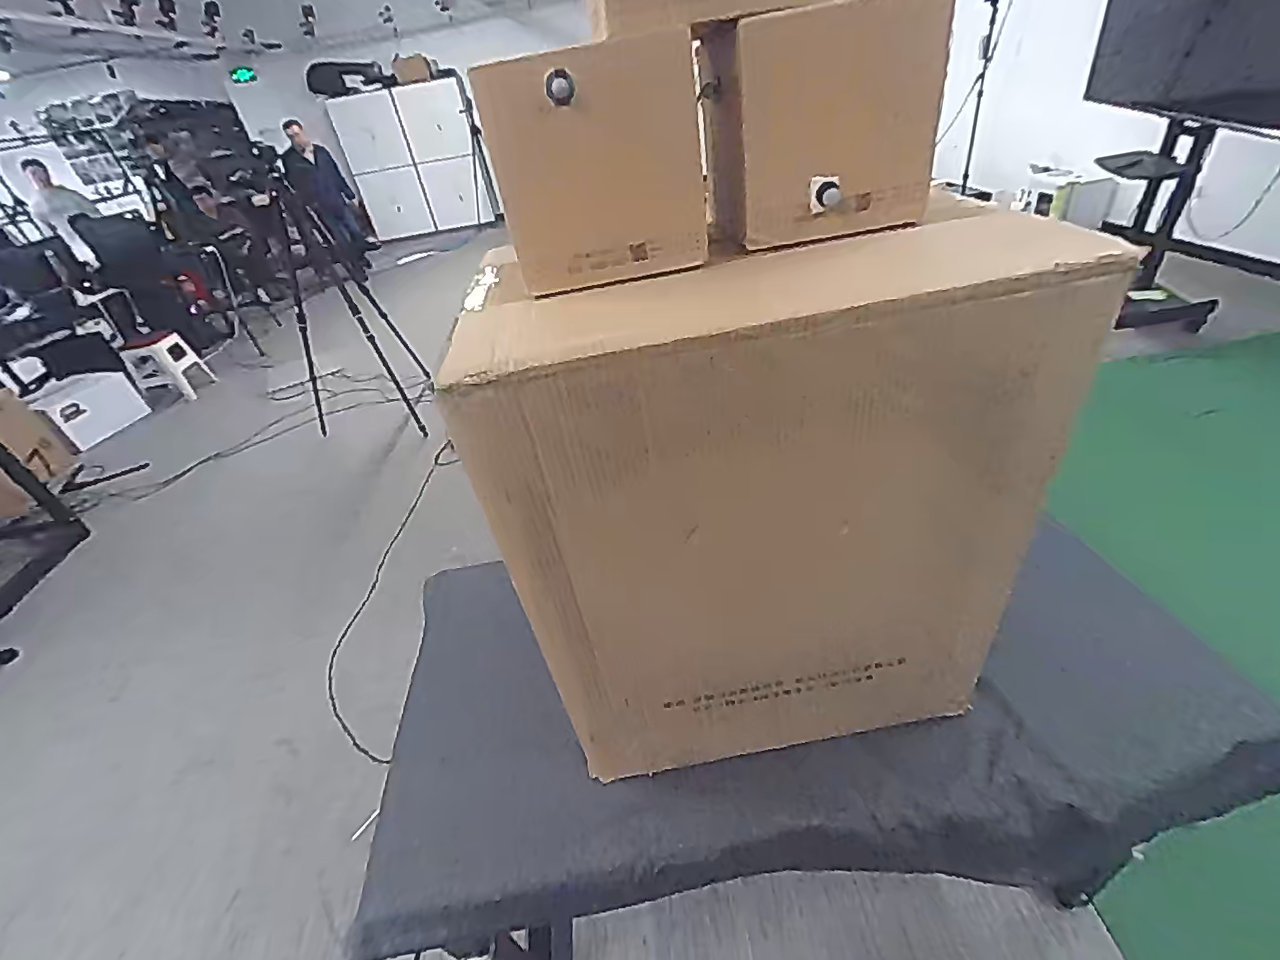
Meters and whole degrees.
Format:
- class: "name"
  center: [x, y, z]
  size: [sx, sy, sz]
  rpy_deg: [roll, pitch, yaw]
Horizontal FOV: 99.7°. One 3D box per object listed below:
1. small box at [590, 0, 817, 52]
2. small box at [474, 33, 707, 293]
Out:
- class: "small box"
  center: [0.042, -0.449, 0.430]
  size: [0.179, 0.176, 0.168]
  rpy_deg: [-11, 34, -1]
- class: "small box"
  center: [-0.037, -0.290, 0.511]
  size: [0.168, 0.176, 0.179]
  rpy_deg: [-11, 34, 1]
